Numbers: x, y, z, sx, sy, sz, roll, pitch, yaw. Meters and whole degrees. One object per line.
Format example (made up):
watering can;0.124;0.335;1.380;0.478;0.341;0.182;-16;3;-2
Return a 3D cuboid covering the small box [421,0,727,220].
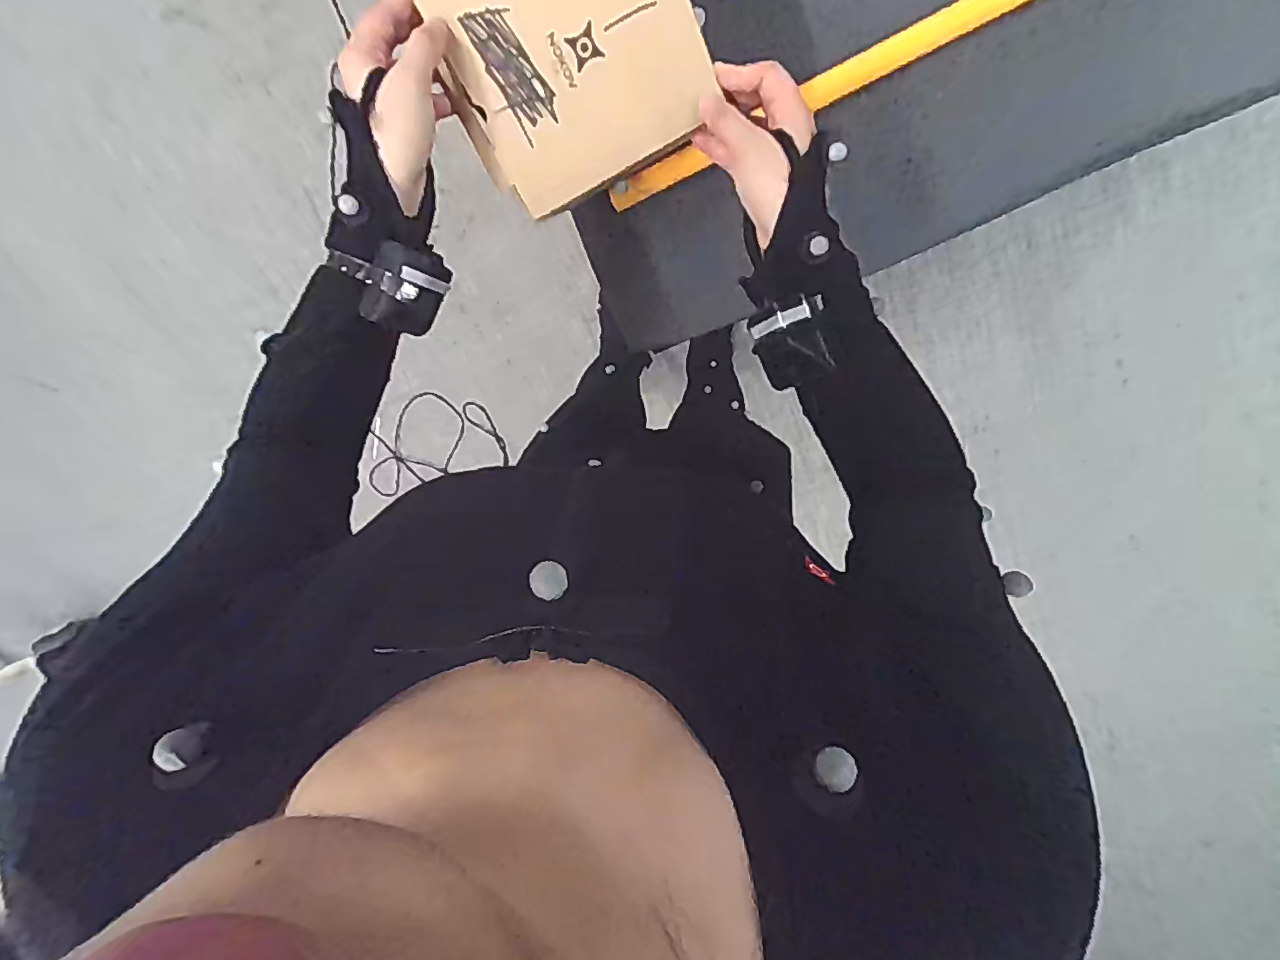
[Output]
small box;-0.040;-0.348;0.462;0.179;0.176;0.168;-23;117;16
